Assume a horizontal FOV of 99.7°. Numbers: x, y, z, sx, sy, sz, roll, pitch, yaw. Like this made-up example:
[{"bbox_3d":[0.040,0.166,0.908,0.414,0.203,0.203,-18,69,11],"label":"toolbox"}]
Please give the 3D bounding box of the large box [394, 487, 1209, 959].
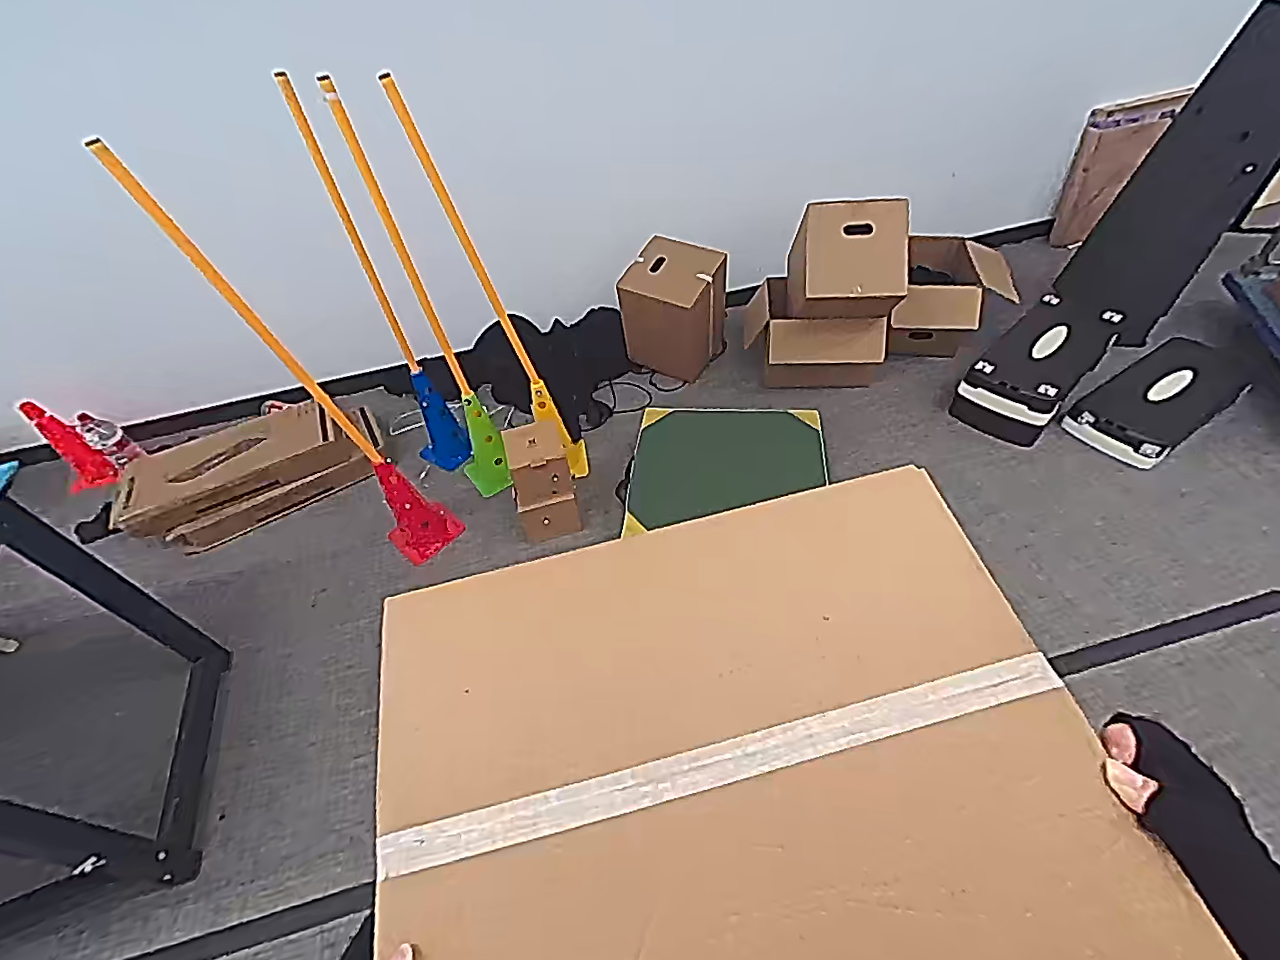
[{"bbox_3d":[0.068,0.256,0.444,0.408,0.320,0.320,-15,56,-3],"label":"large box"}]
